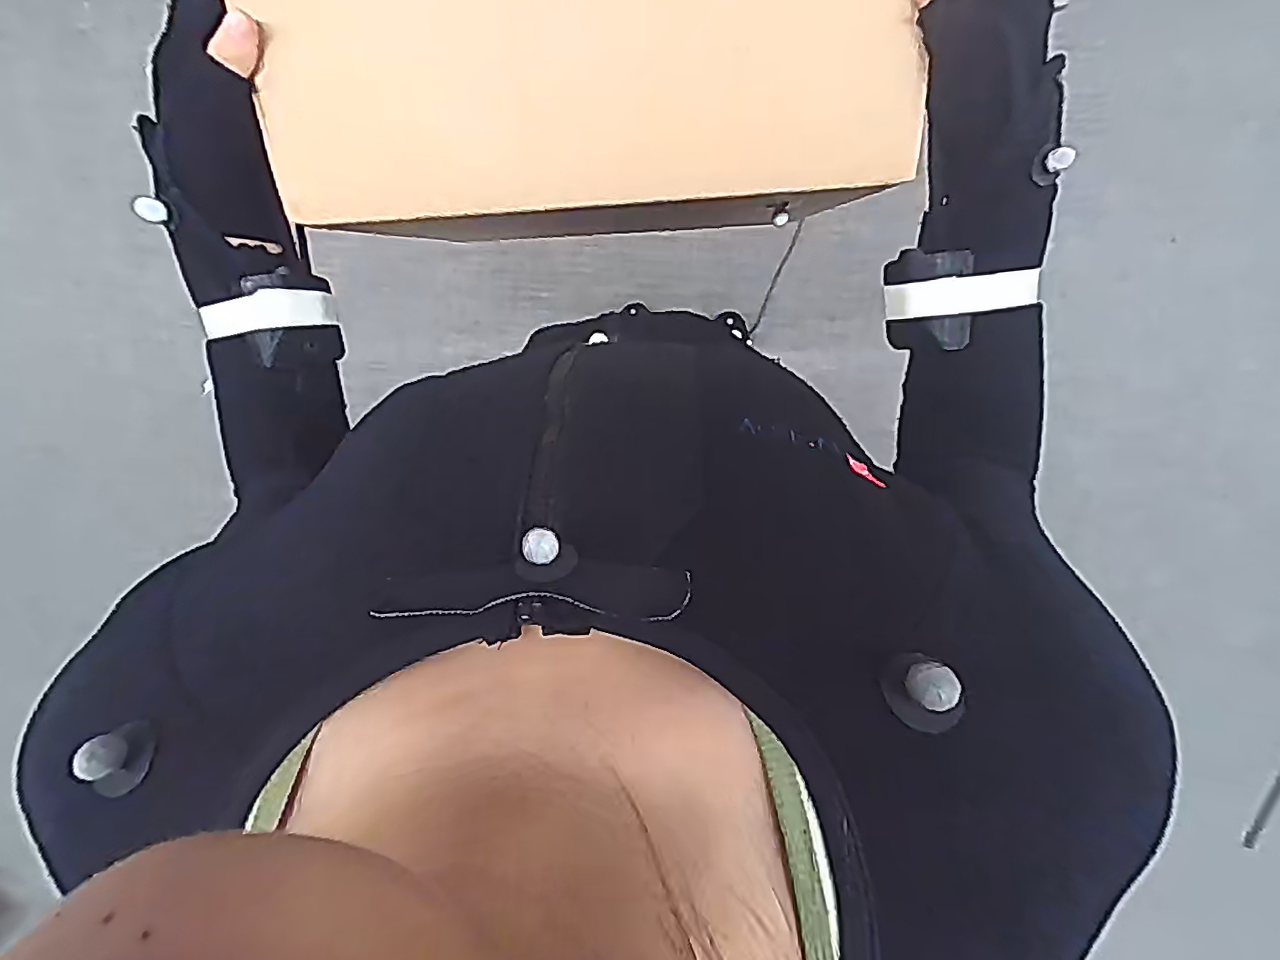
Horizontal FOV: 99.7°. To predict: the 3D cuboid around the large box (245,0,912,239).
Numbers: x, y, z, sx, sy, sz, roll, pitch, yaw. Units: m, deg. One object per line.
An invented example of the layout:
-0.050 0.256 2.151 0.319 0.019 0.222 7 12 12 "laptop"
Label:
-0.035 -0.383 0.442 0.408 0.320 0.320 -2 111 4 "large box"
